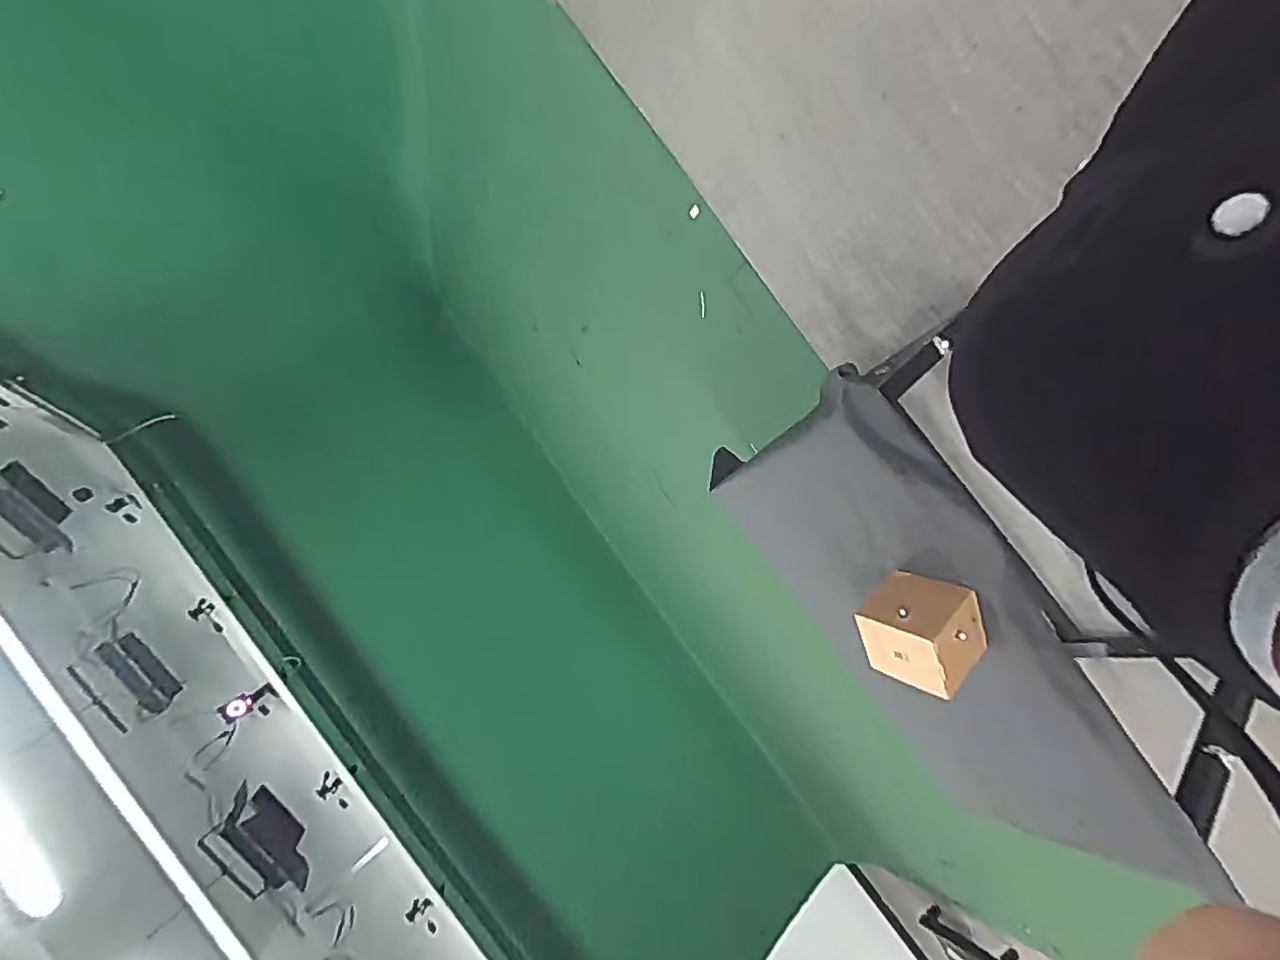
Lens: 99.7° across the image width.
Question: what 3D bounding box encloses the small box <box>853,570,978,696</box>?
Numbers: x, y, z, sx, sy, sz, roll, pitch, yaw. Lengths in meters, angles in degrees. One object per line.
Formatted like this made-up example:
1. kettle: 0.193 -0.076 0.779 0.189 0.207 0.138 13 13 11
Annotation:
1. small box: 0.600 0.318 1.166 0.179 0.176 0.168 12 132 57
